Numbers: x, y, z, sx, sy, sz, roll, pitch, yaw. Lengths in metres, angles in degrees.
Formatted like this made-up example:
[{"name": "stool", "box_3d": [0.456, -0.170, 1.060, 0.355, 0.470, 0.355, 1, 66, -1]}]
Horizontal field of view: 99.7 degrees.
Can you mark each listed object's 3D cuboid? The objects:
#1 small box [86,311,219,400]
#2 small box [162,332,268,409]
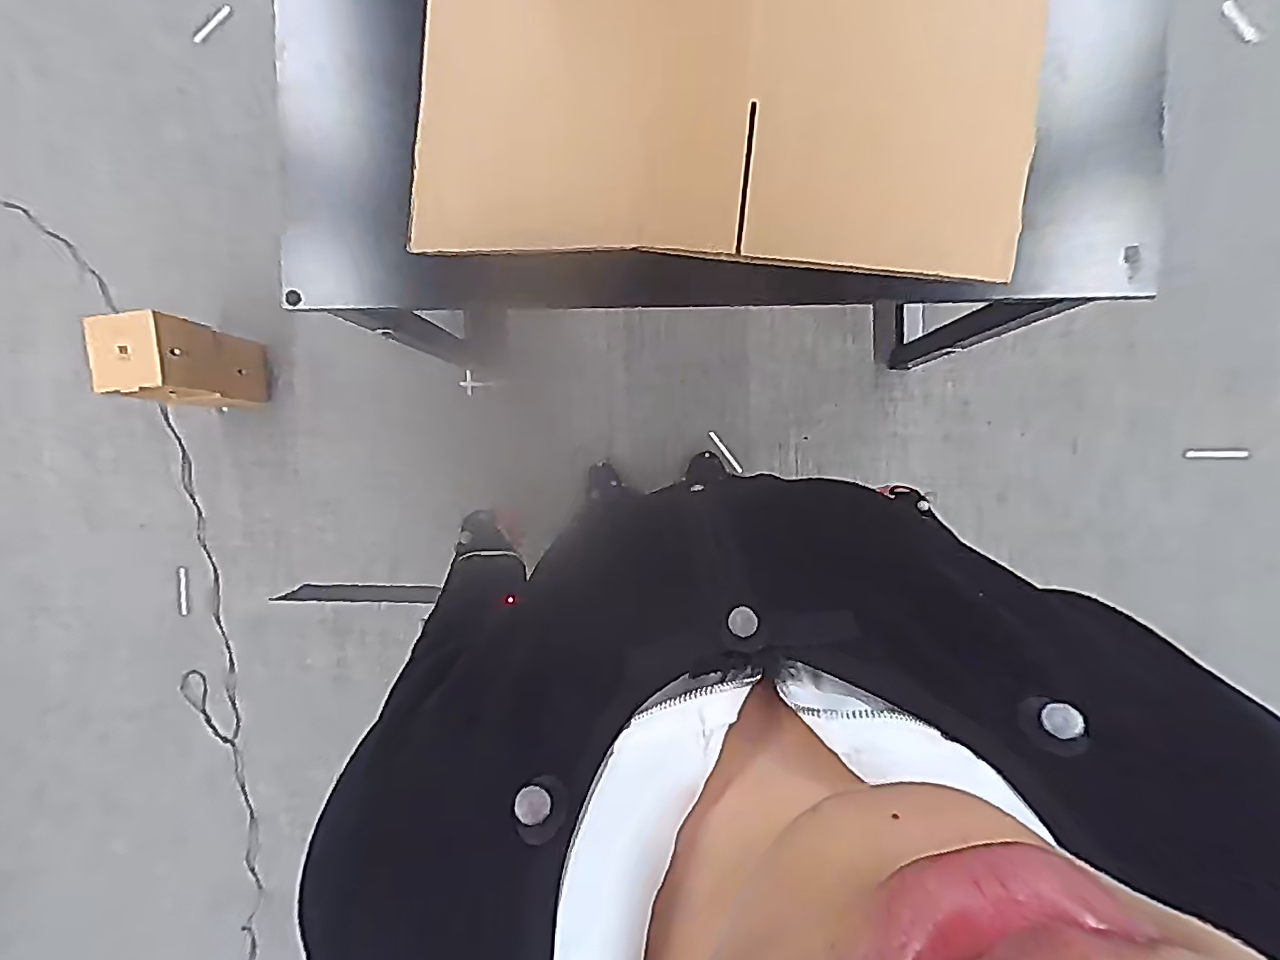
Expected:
[{"name": "small box", "box_3d": [-1.162, -0.291, 1.303, 0.168, 0.176, 0.179, -7, 91, 3]}, {"name": "small box", "box_3d": [-1.151, -0.292, 1.466, 0.168, 0.176, 0.179, -4, 93, 3]}]
